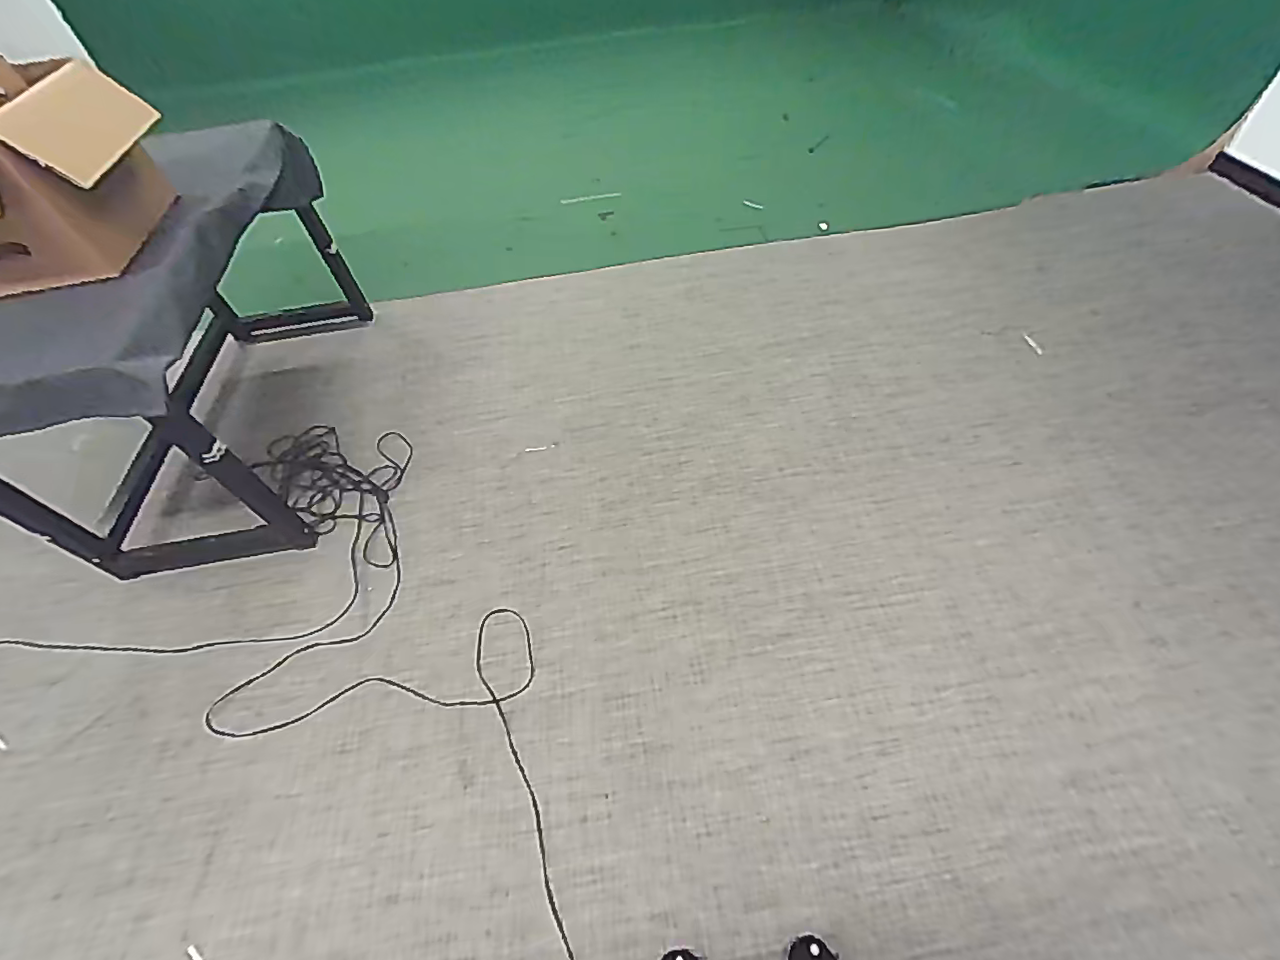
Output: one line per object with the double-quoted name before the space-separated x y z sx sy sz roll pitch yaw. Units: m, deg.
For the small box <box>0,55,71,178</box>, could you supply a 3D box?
"small box" -1.364 -0.749 1.124 0.168 0.176 0.179 -10 53 -2
